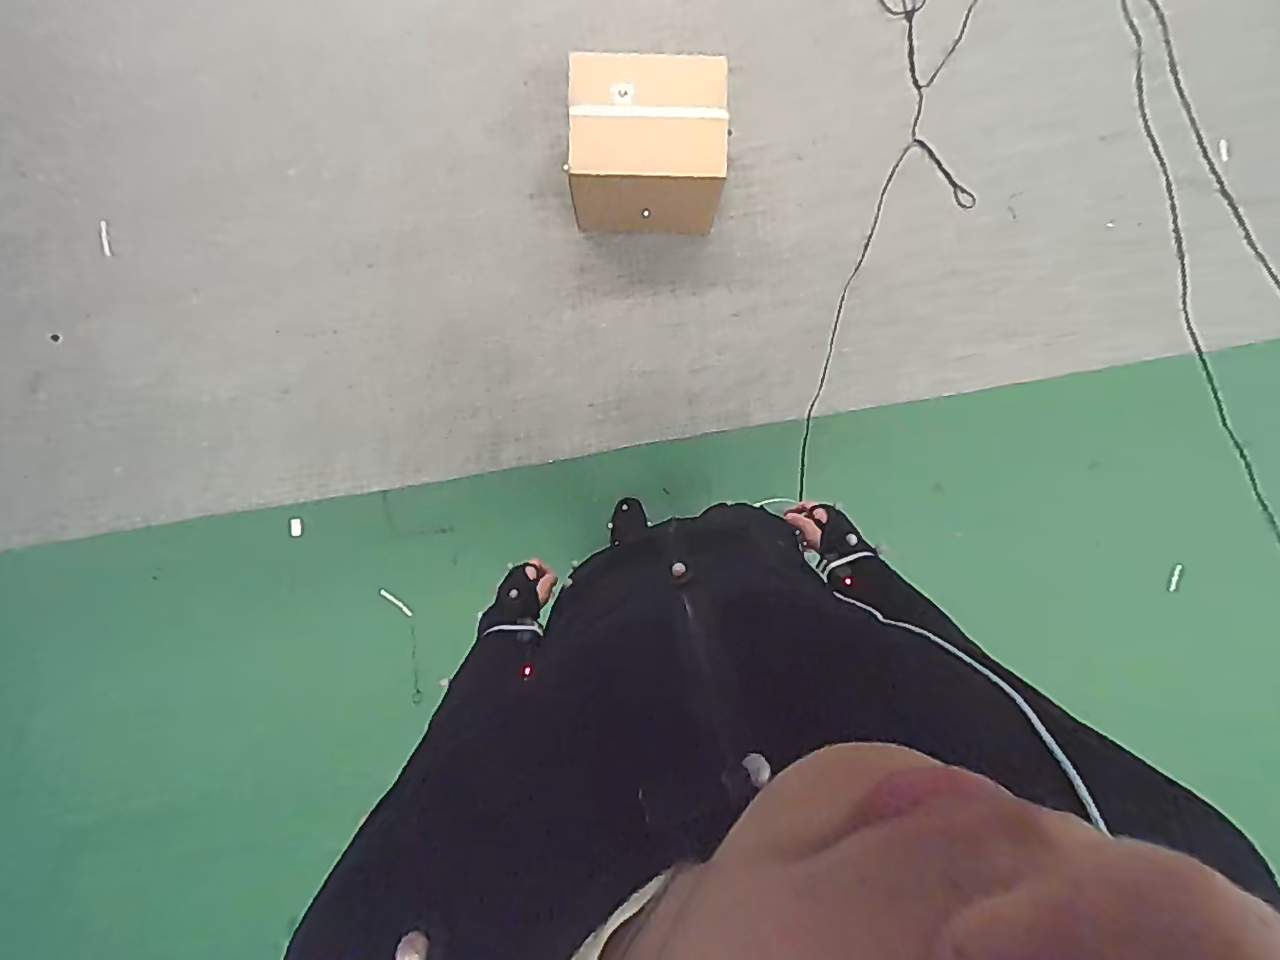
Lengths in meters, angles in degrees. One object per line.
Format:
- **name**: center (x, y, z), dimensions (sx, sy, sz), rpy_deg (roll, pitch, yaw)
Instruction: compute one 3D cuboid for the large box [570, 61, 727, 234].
- **large box**: center (0.023, -0.909, 1.519), dimensions (0.408, 0.320, 0.320), rpy_deg (1, 88, 0)
